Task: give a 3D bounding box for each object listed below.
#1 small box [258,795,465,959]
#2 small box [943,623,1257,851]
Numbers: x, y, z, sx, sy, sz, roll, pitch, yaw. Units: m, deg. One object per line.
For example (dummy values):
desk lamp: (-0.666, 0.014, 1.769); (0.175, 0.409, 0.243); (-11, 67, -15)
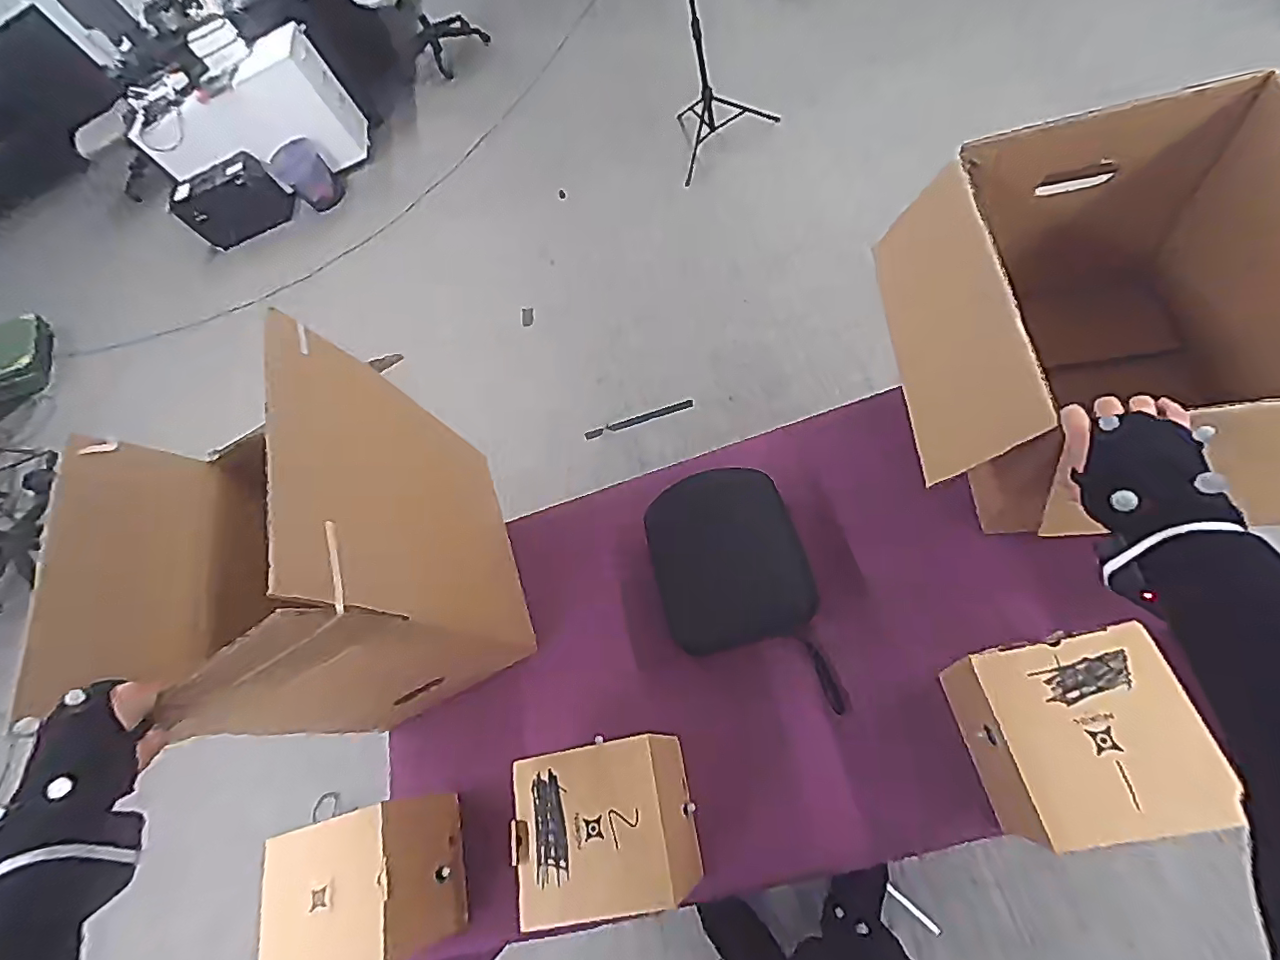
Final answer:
small box: (-0.359, 0.534, 0.718); (0.179, 0.176, 0.168); (-21, 60, 6)
small box: (0.454, 0.271, 0.578); (0.168, 0.176, 0.179); (-16, 61, 11)
